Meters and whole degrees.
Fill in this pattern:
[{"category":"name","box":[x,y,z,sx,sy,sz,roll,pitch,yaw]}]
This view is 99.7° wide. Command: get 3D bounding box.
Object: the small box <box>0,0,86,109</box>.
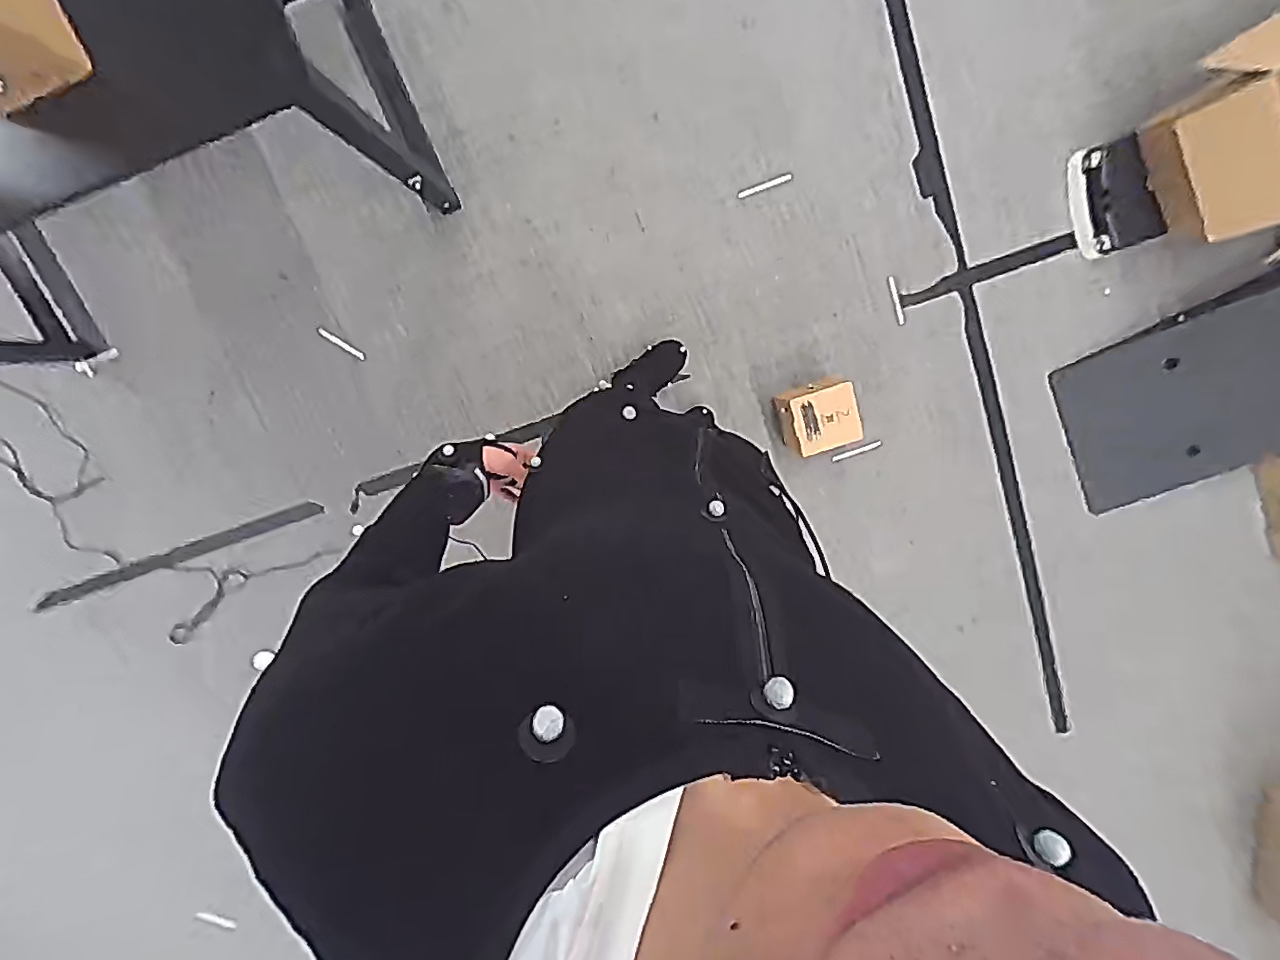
[{"category":"small box","box":[-0.866,-0.607,0.660,0.168,0.176,0.179,-20,103,3]}]
